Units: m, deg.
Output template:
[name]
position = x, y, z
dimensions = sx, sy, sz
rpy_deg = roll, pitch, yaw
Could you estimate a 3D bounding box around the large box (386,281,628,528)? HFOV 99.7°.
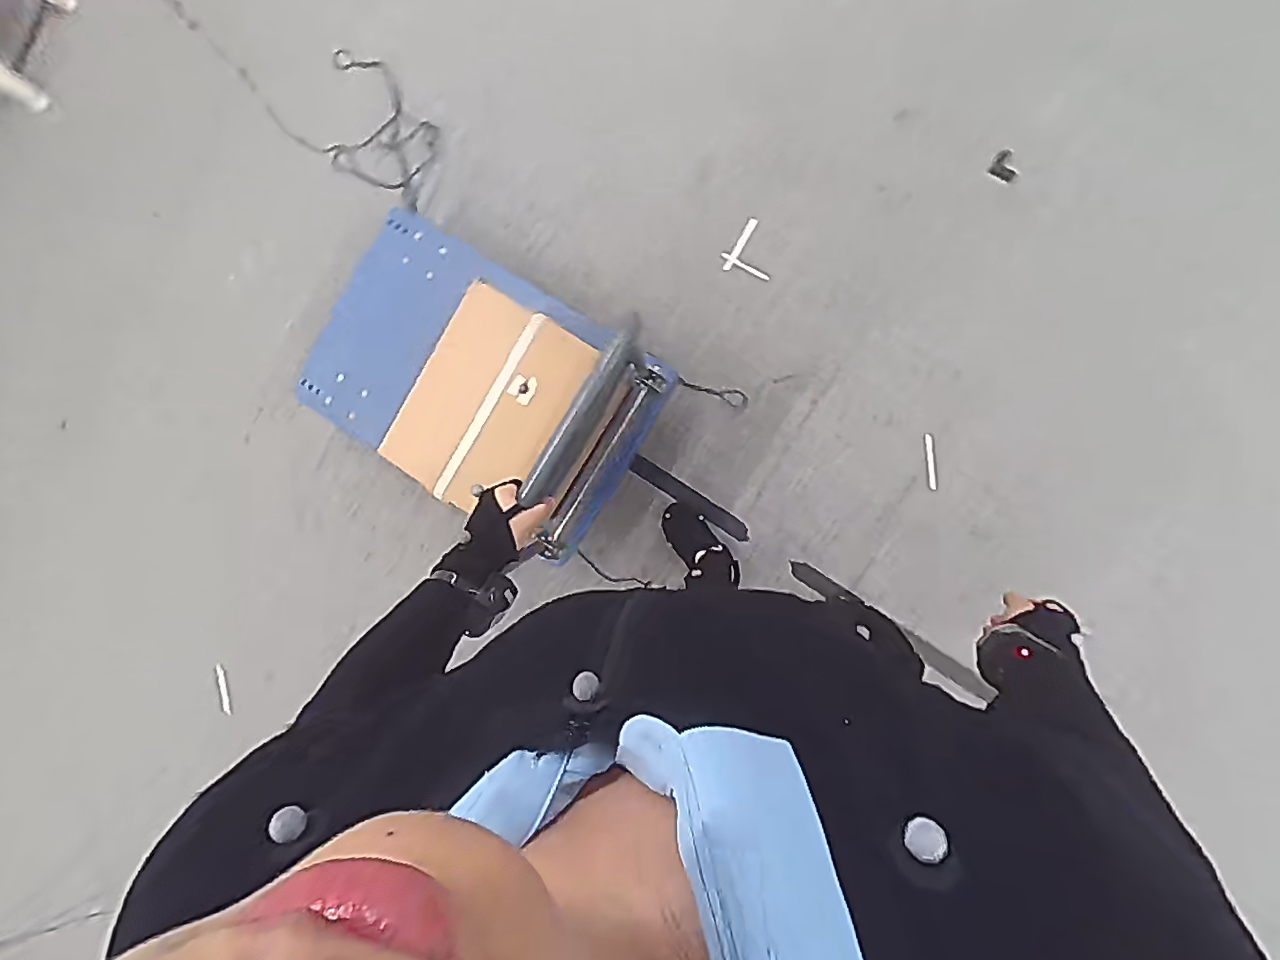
[large box]
position = -0.273, -0.148, 1.212
dimensions = 0.320, 0.320, 0.408
rpy_deg = 31, 94, 5
